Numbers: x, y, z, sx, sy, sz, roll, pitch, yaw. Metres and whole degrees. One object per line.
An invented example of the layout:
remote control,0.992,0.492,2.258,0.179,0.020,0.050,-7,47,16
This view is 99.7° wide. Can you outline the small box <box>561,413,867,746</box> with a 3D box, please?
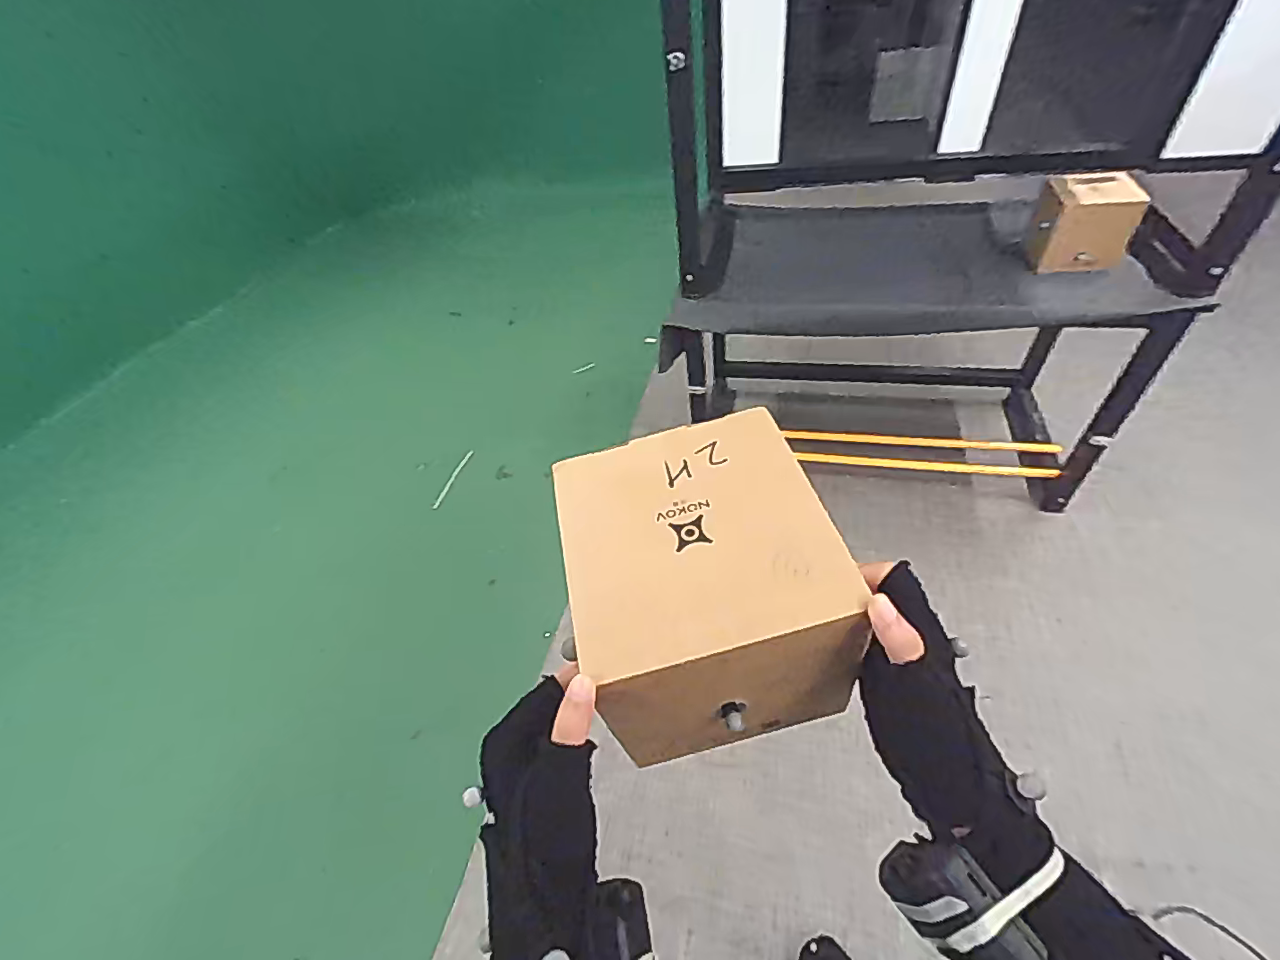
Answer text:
small box,0.048,0.083,0.413,0.168,0.176,0.179,-15,48,0
